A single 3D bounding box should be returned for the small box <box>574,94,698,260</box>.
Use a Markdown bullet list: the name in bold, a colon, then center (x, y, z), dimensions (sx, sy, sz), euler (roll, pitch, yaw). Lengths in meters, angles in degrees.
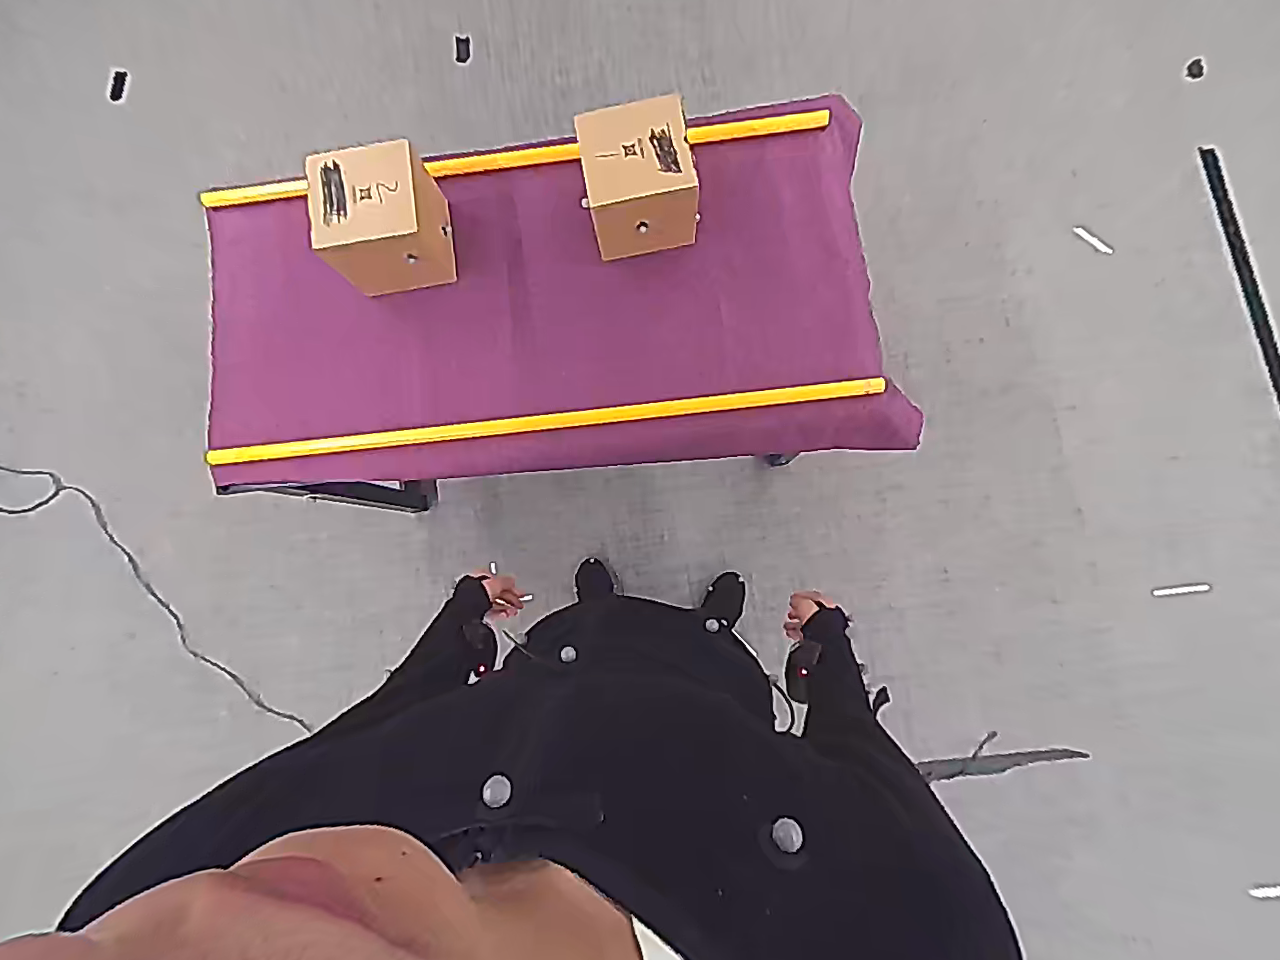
- **small box**: center (-0.003, -0.504, 0.923), dimensions (0.179, 0.176, 0.168), euler (-10, 83, 3)
